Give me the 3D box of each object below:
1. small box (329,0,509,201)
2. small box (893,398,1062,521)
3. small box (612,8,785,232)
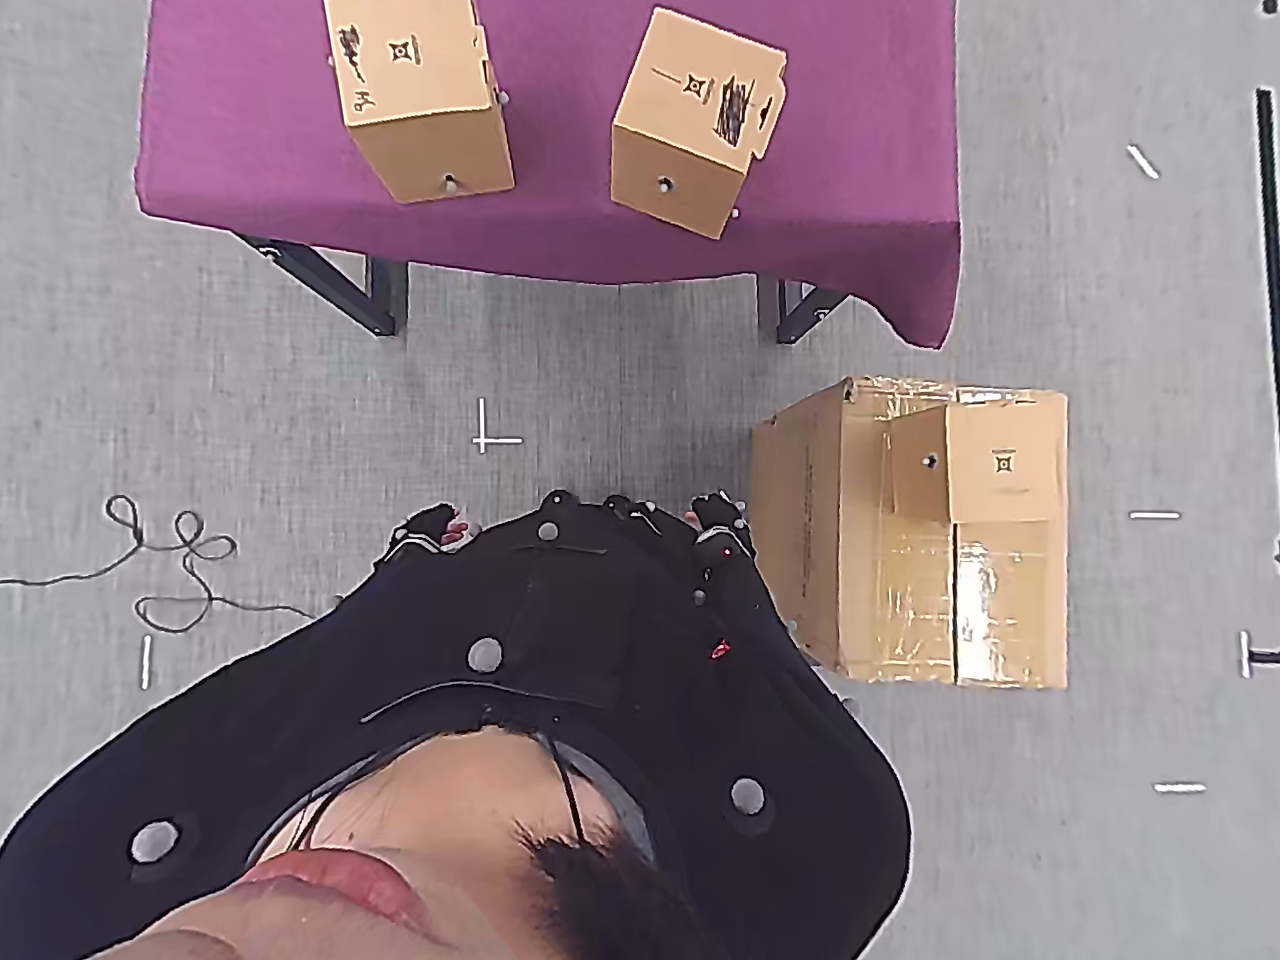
[{"bbox_3d":[-0.279,-0.505,0.725,0.179,0.176,0.168,-10,87,-5],"label":"small box"},{"bbox_3d":[0.519,-0.027,0.855,0.168,0.176,0.179,-2,89,-1],"label":"small box"},{"bbox_3d":[0.070,-0.475,0.745,0.179,0.176,0.168,20,85,-1],"label":"small box"}]
